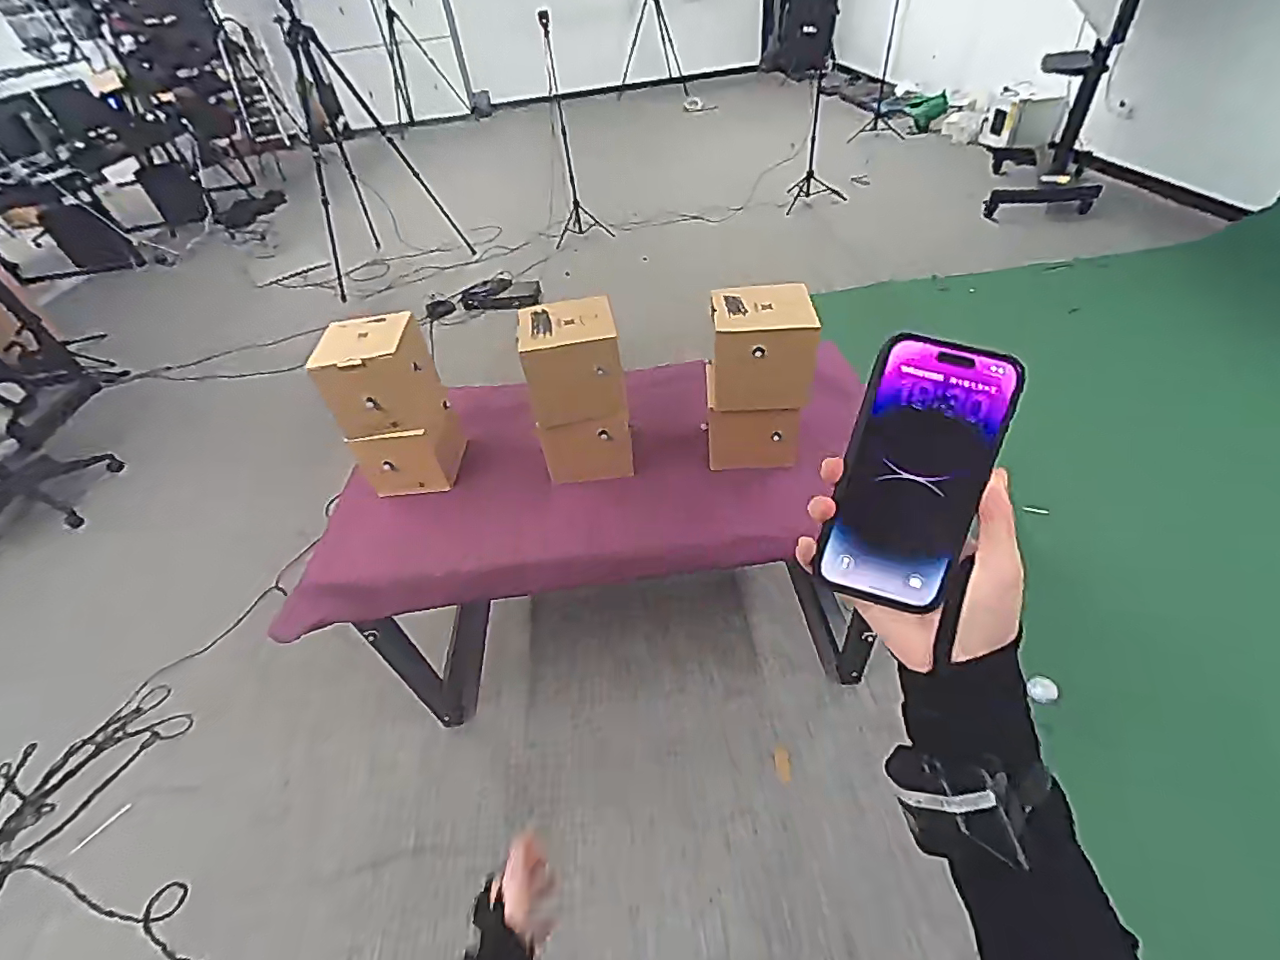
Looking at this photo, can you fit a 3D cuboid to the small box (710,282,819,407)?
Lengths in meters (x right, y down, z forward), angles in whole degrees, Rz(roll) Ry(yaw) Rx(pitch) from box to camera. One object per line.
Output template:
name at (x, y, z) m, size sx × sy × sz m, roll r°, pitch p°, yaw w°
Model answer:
small box at (0.222, -0.247, 1.002) m, size 0.179 × 0.176 × 0.168 m, roll -2°, pitch 44°, yaw 6°

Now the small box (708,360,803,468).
small box at (0.232, -0.139, 1.126) m, size 0.179 × 0.176 × 0.168 m, roll -2°, pitch 44°, yaw 8°

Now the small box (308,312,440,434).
small box at (-0.515, -0.207, 1.078) m, size 0.168 × 0.176 × 0.179 m, roll -9°, pitch 44°, yaw -1°

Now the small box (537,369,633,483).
small box at (-0.107, -0.112, 1.151) m, size 0.179 × 0.176 × 0.168 m, roll -6°, pitch 44°, yaw 3°

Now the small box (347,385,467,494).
small box at (-0.496, -0.083, 1.185) m, size 0.168 × 0.176 × 0.179 m, roll -6°, pitch 43°, yaw 3°
